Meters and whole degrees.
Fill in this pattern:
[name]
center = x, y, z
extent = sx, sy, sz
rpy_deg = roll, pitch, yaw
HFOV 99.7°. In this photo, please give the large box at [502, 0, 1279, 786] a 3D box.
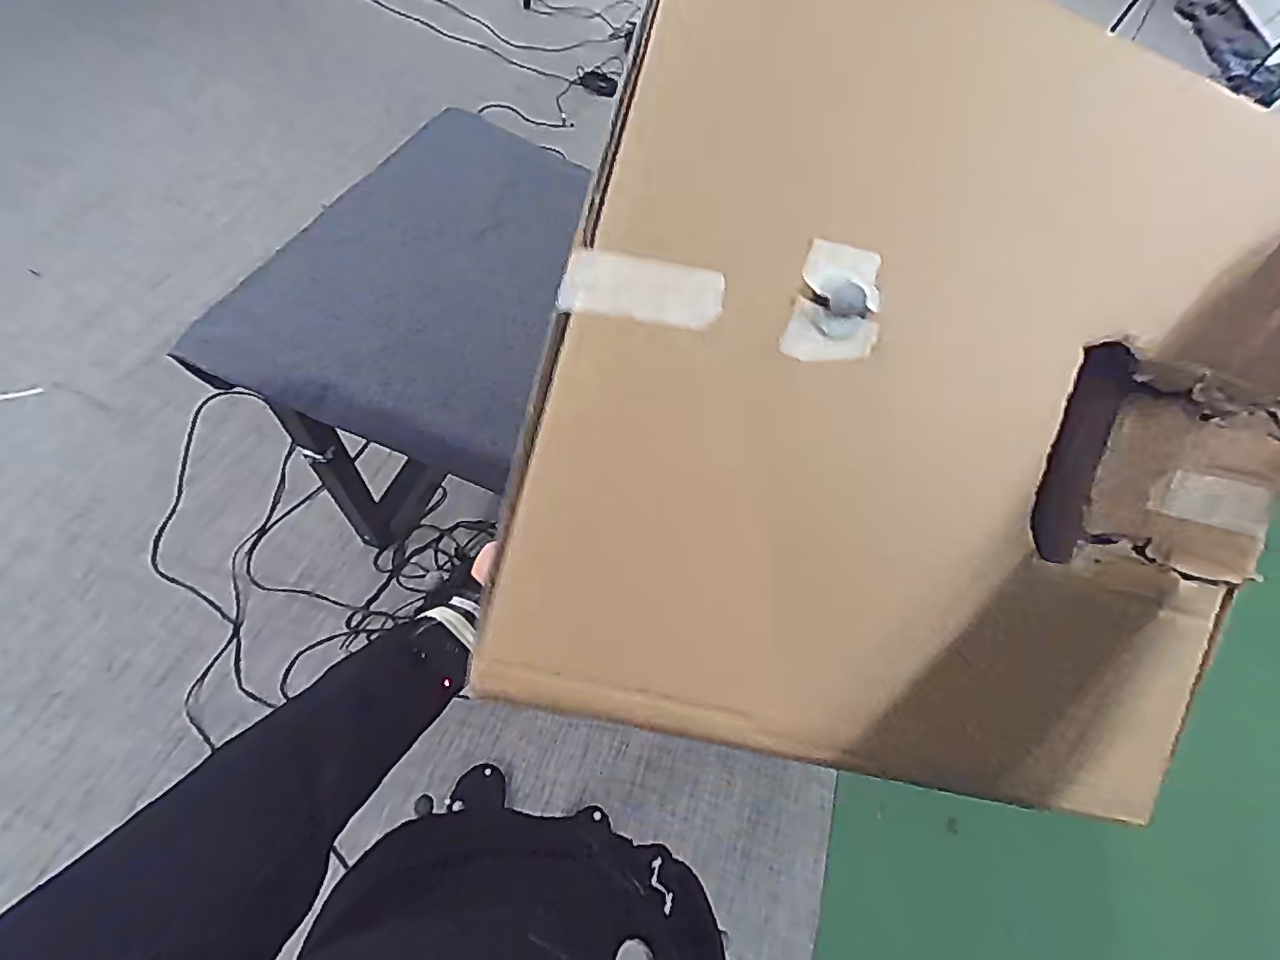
[large box]
center = 0.093, -0.048, 0.419
extent = 0.320, 0.408, 0.320
rpy_deg = 15, 93, -11
